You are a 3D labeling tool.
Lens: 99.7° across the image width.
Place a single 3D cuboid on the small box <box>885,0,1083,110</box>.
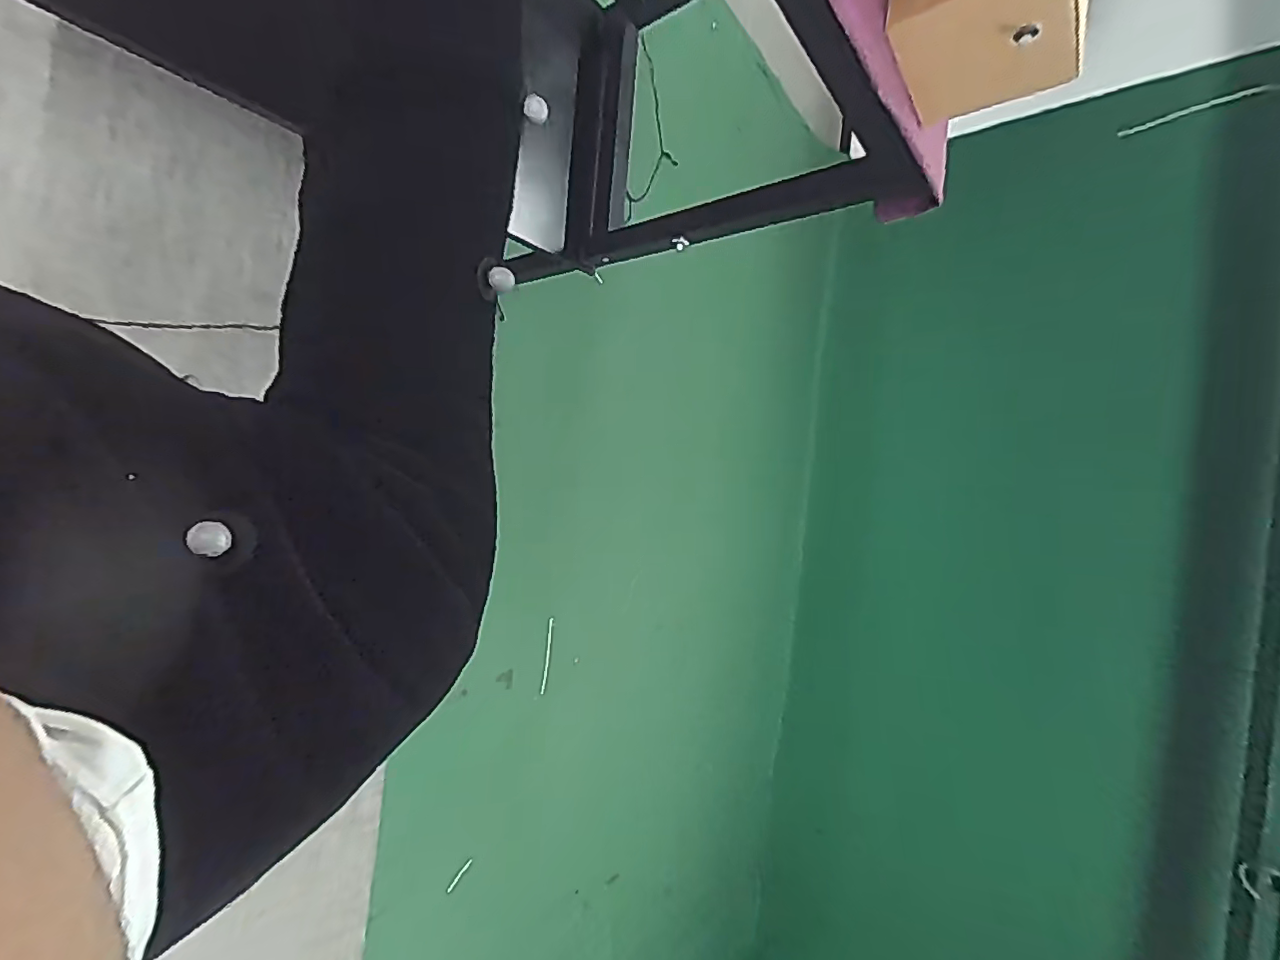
[{"bbox_3d":[0.391,-0.566,0.611,0.179,0.176,0.168,12,86,-50],"label":"small box"}]
